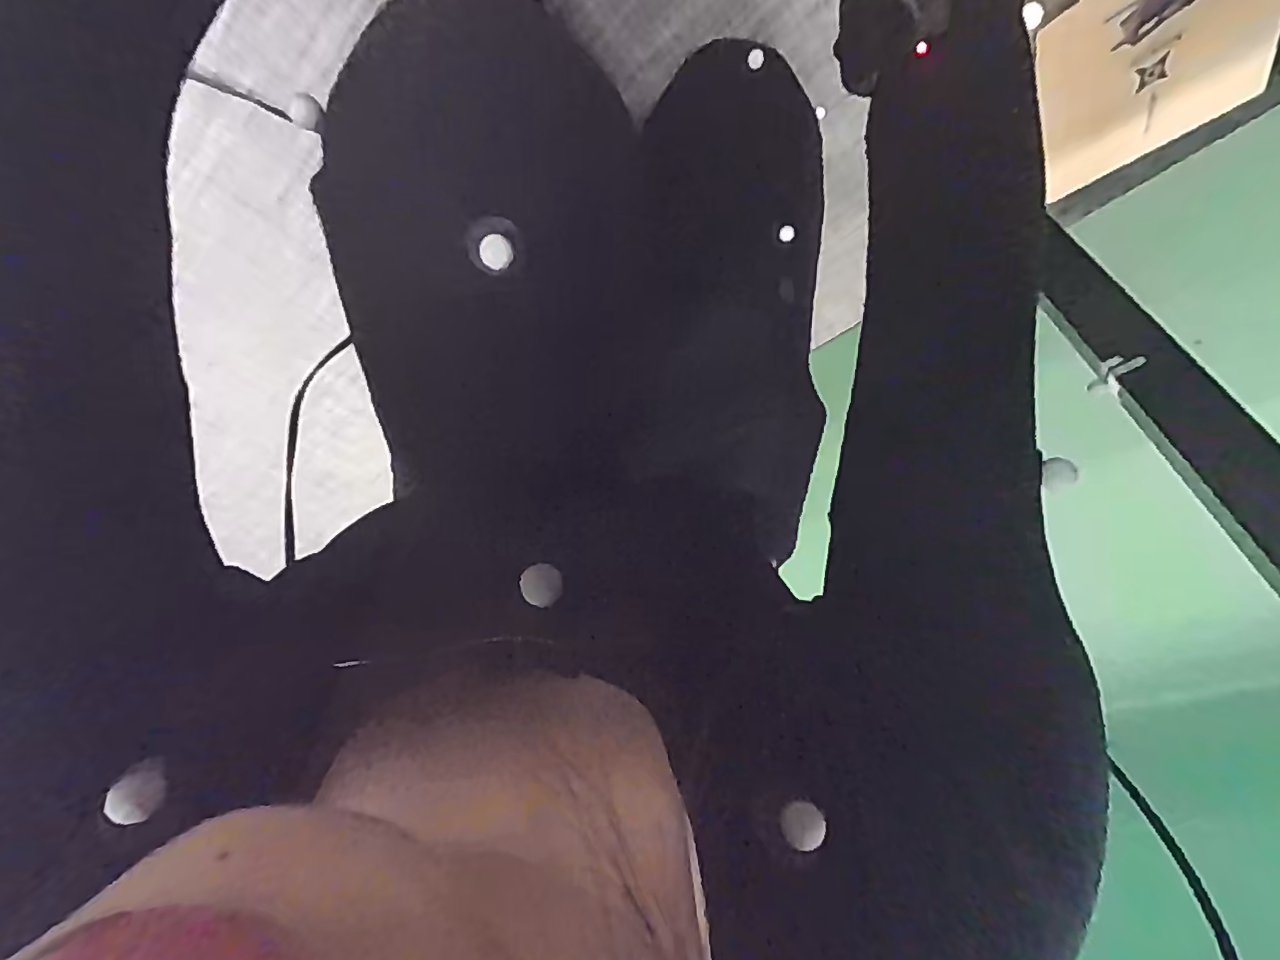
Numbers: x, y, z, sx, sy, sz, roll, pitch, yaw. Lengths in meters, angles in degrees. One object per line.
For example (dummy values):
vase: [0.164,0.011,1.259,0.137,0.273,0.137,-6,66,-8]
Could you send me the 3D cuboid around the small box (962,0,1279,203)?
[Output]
small box: [0.409,-0.399,0.475,0.168,0.176,0.179,-24,140,26]
